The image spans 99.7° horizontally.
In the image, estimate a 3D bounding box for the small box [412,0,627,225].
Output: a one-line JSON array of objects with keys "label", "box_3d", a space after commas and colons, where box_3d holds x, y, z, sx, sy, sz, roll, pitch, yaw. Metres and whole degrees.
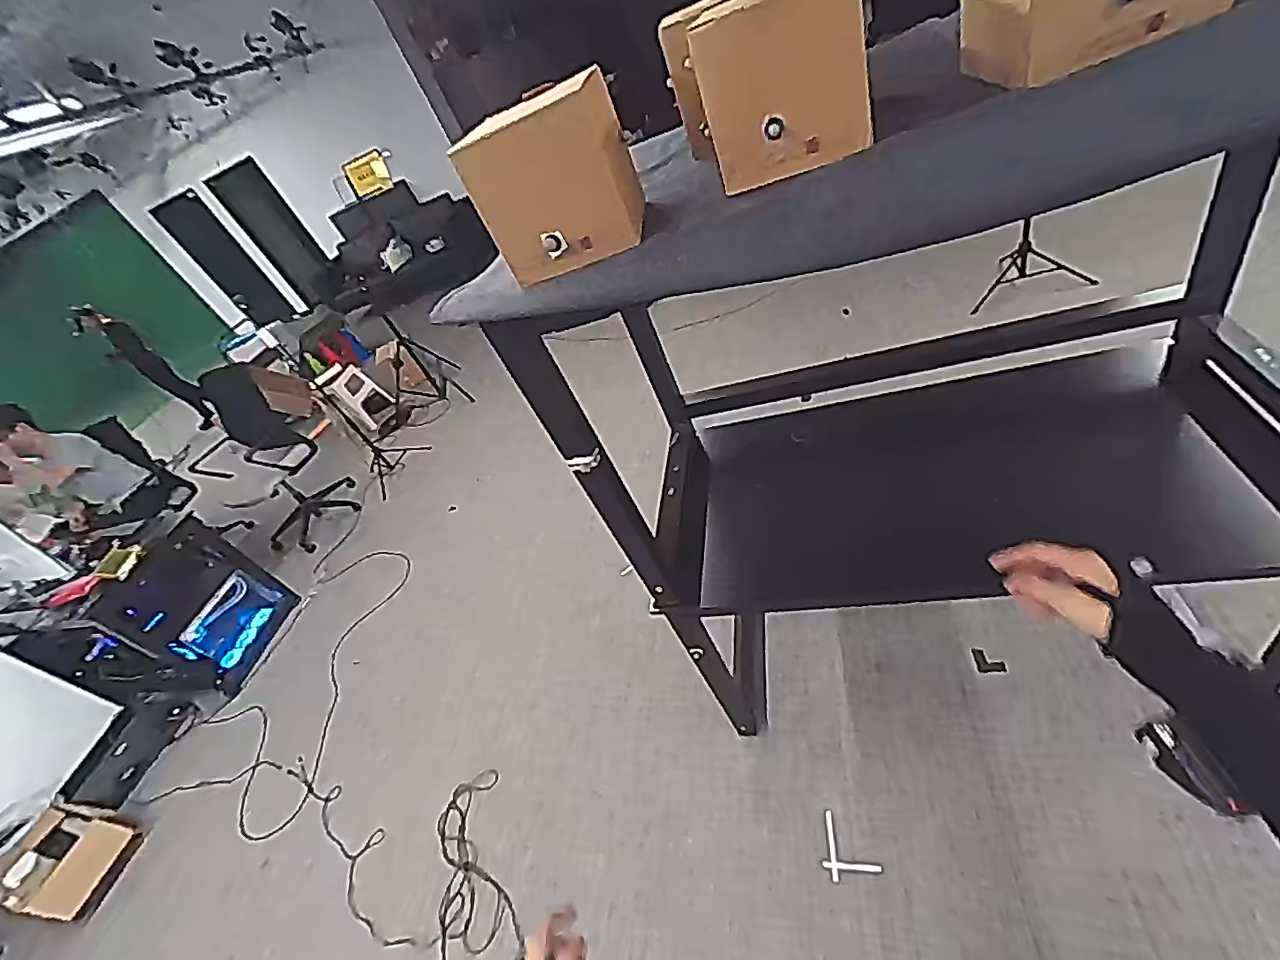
[{"label": "small box", "box_3d": [-0.122, -0.427, 0.630, 0.168, 0.176, 0.179, -14, 41, 16]}]

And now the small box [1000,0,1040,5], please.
[{"label": "small box", "box_3d": [0.412, -0.566, 0.485, 0.168, 0.176, 0.179, -14, 41, 16]}]
